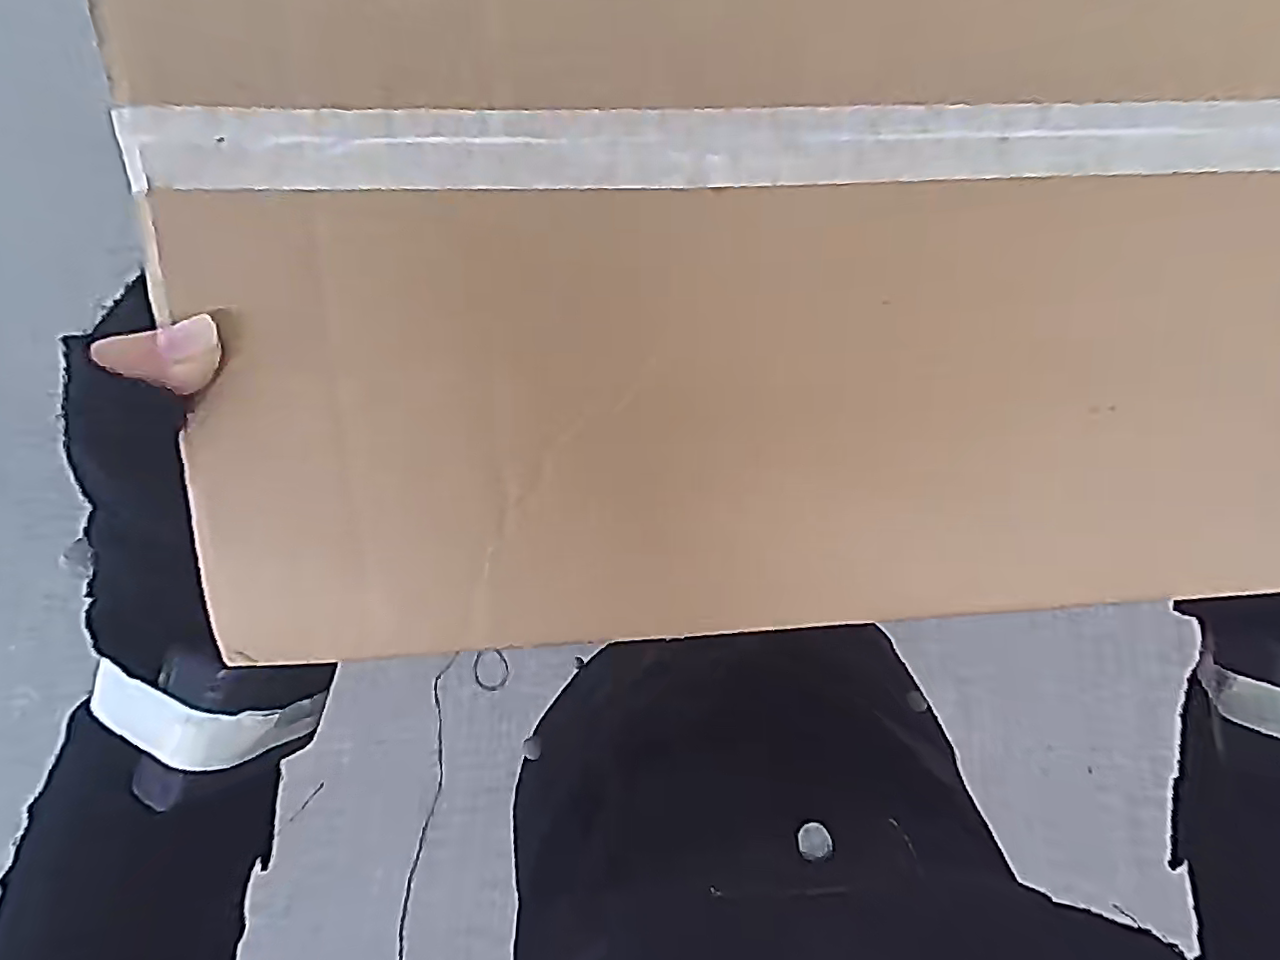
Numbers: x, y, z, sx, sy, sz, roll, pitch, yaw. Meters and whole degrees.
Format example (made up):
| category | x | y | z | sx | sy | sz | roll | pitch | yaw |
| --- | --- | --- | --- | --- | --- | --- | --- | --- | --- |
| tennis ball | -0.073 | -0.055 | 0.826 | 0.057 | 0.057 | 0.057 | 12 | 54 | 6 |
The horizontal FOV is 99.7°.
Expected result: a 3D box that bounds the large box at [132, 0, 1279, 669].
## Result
| category | x | y | z | sx | sy | sz | roll | pitch | yaw |
| --- | --- | --- | --- | --- | --- | --- | --- | --- | --- |
| large box | 0.043 | -0.121 | 0.326 | 0.408 | 0.320 | 0.320 | -3 | 99 | -4 |
